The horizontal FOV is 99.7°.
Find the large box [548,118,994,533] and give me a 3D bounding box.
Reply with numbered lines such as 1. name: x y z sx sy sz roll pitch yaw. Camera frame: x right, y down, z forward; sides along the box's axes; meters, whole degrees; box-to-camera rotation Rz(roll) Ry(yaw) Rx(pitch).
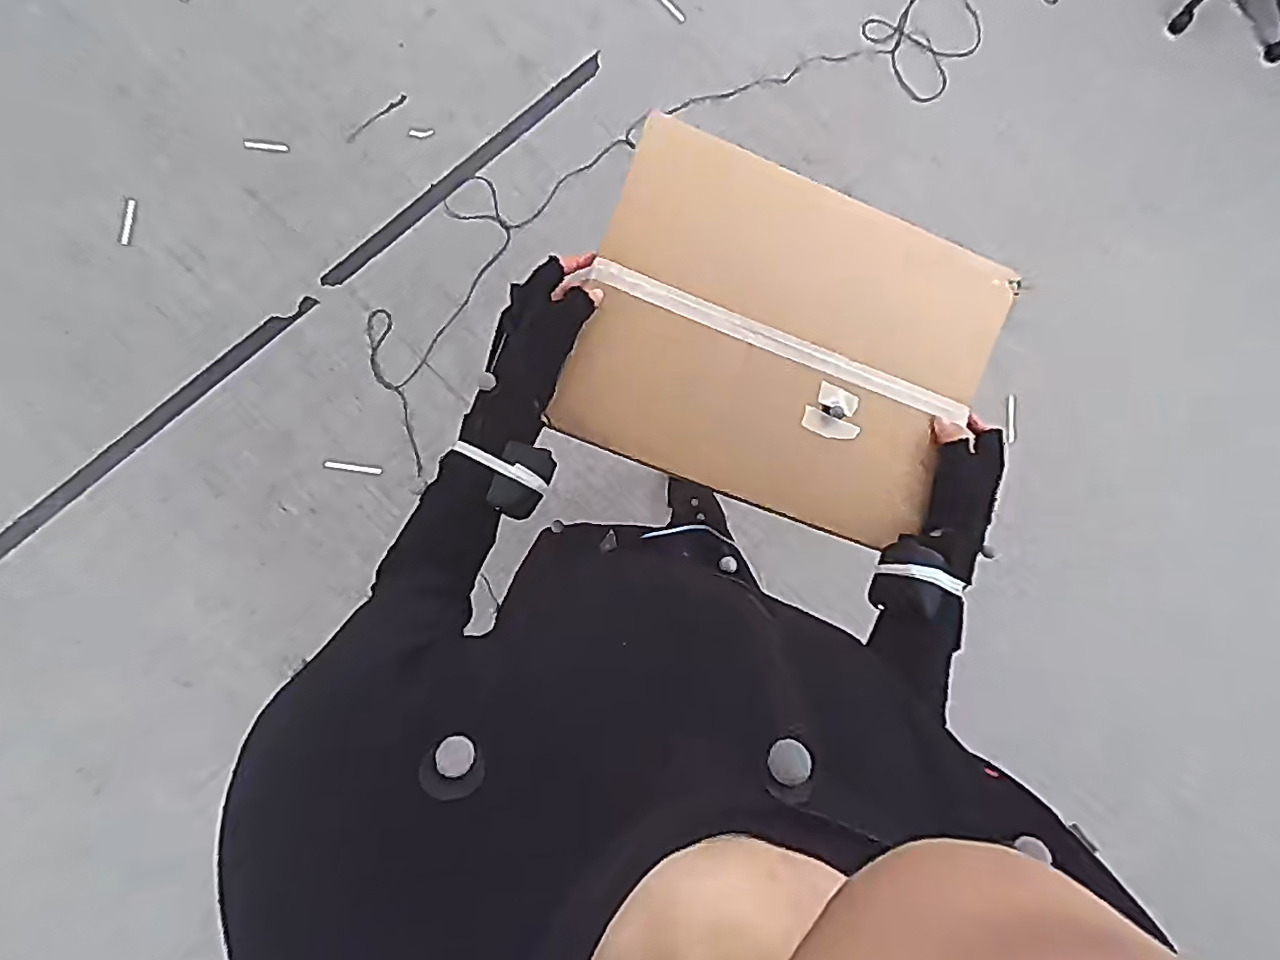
1. large box: 0.125 -0.159 0.700 0.408 0.320 0.320 20 93 -7
